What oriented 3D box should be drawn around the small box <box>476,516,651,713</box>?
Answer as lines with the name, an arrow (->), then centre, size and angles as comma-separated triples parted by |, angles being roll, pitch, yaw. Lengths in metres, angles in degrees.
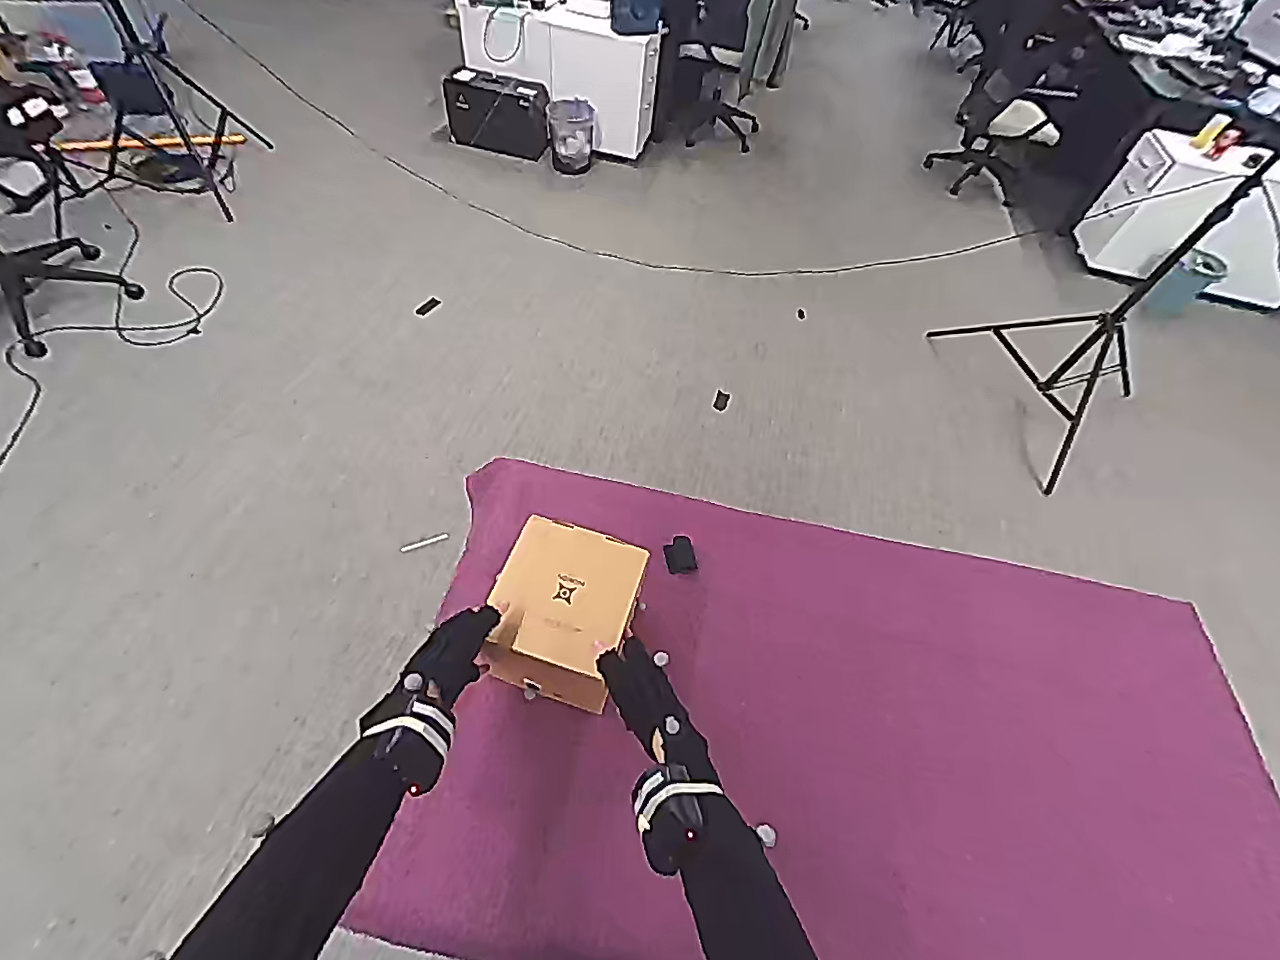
small box -> -0.095, 0.181, 0.714 | 0.168, 0.176, 0.179 | 16, 54, 6
